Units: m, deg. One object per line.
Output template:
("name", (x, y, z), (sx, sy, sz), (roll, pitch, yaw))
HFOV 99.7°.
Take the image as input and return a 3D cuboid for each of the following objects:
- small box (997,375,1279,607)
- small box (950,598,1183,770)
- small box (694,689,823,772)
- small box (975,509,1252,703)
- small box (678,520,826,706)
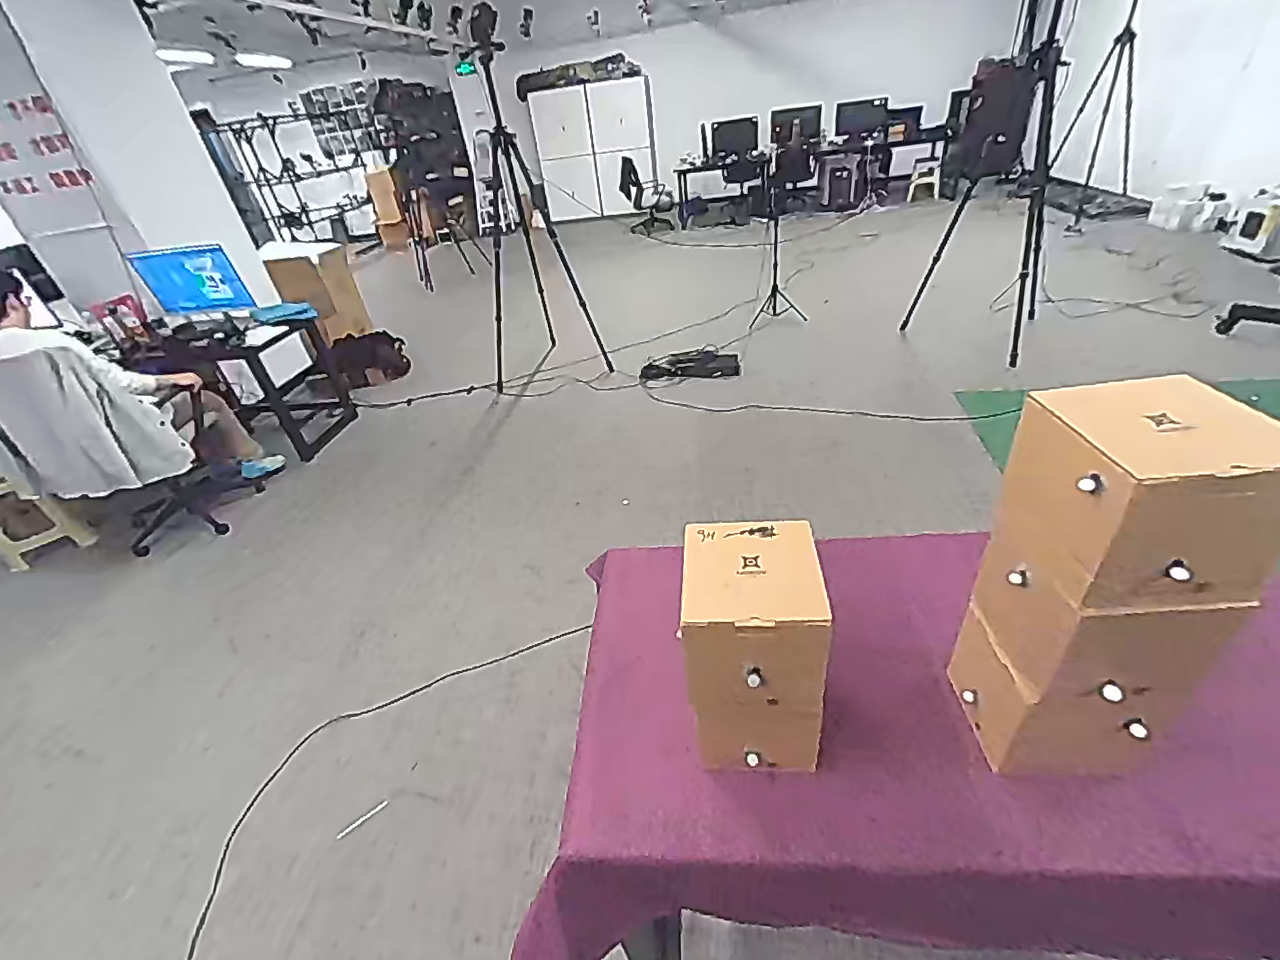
("small box", (0.516, 0.009, 0.571), (0.168, 0.176, 0.179), (-7, 36, 5))
("small box", (0.563, 0.278, 0.748), (0.179, 0.176, 0.168), (-4, 34, 7))
("small box", (0.169, 0.303, 0.805), (0.168, 0.176, 0.179), (-3, 36, 9))
("small box", (0.541, 0.144, 0.657), (0.168, 0.176, 0.179), (-5, 35, 7))
("small box", (0.143, 0.174, 0.706), (0.168, 0.176, 0.179), (-3, 36, 9))
